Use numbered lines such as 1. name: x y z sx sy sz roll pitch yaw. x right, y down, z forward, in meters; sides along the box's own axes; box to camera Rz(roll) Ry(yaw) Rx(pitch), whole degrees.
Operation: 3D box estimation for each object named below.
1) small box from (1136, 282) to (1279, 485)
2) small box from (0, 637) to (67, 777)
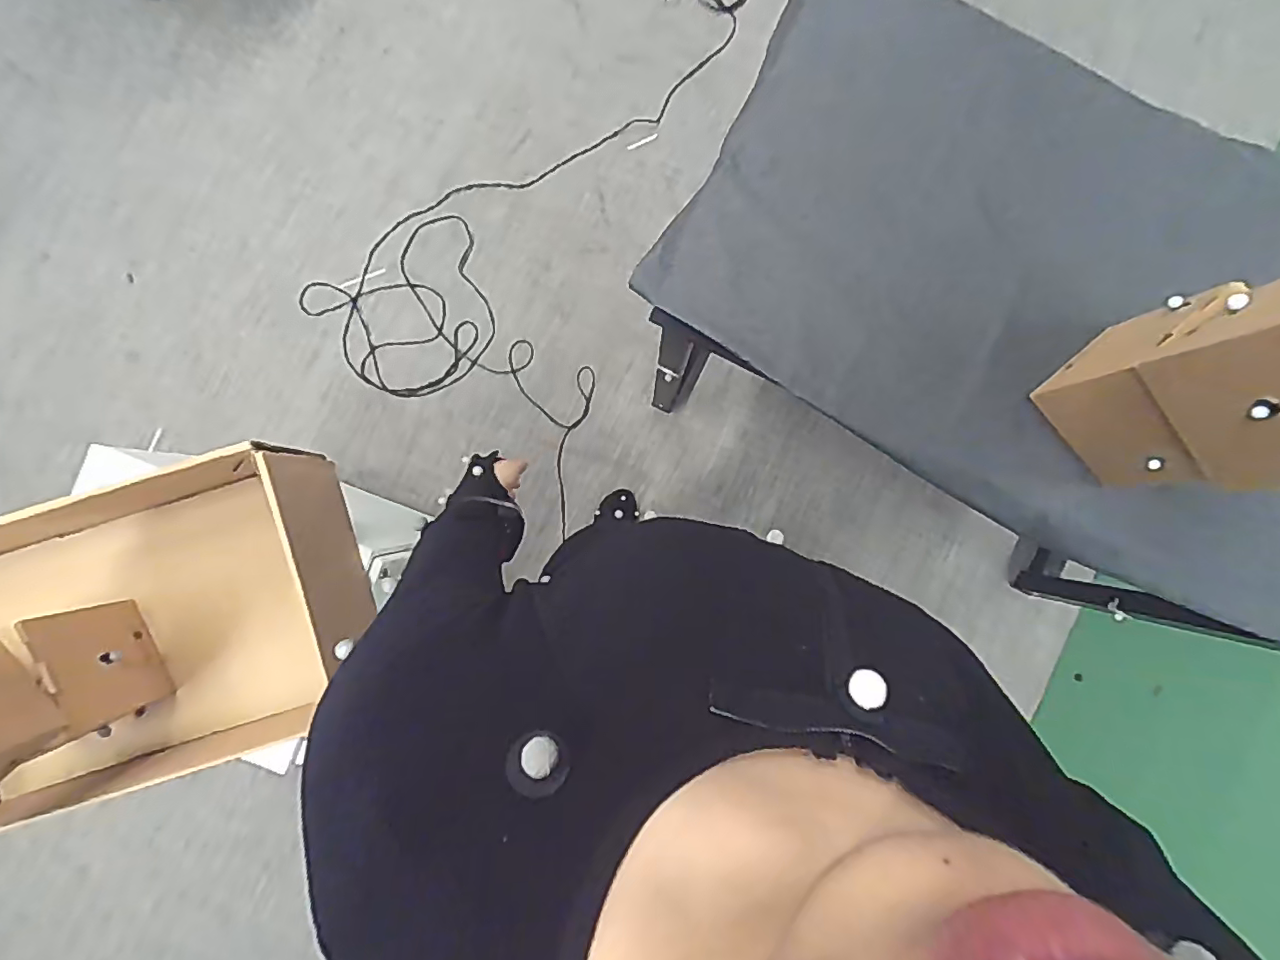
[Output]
1. small box: 0.670 -0.105 0.534 0.168 0.176 0.179 -32 87 -3
2. small box: -0.835 0.285 0.603 0.168 0.176 0.179 -42 91 -2
